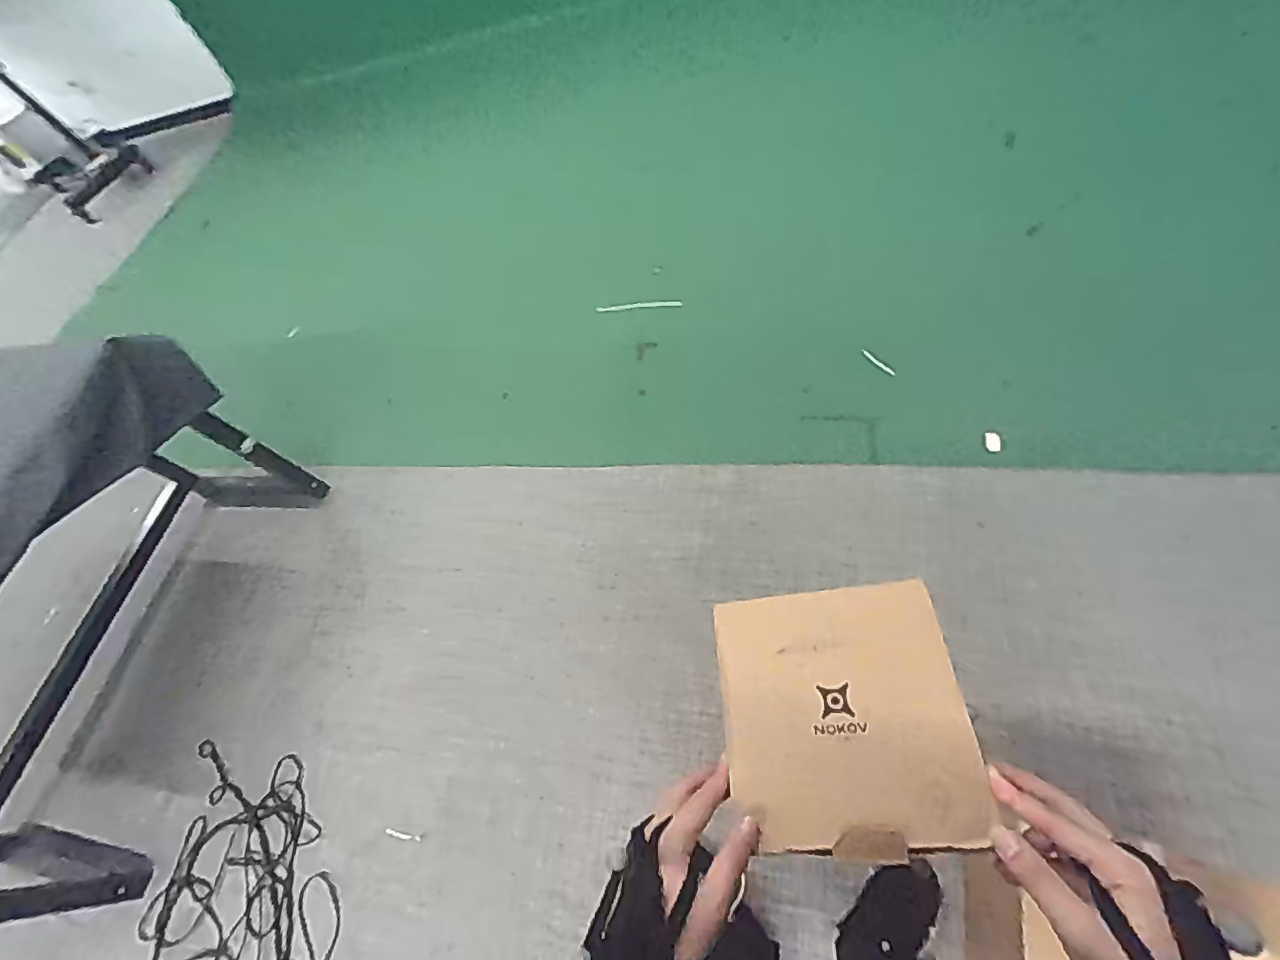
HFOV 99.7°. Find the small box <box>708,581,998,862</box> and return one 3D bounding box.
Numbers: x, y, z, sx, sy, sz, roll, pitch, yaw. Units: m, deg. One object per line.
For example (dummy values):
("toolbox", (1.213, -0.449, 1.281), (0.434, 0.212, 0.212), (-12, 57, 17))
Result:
("small box", (0.159, 0.206, 0.450), (0.168, 0.176, 0.179), (-11, 54, 12))

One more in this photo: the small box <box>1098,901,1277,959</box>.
("small box", (0.626, 0.595, 0.579), (0.168, 0.176, 0.179), (12, 66, 22))

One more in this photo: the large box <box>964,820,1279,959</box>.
("large box", (0.675, 0.750, 0.765), (0.320, 0.320, 0.408), (5, 64, 20))
